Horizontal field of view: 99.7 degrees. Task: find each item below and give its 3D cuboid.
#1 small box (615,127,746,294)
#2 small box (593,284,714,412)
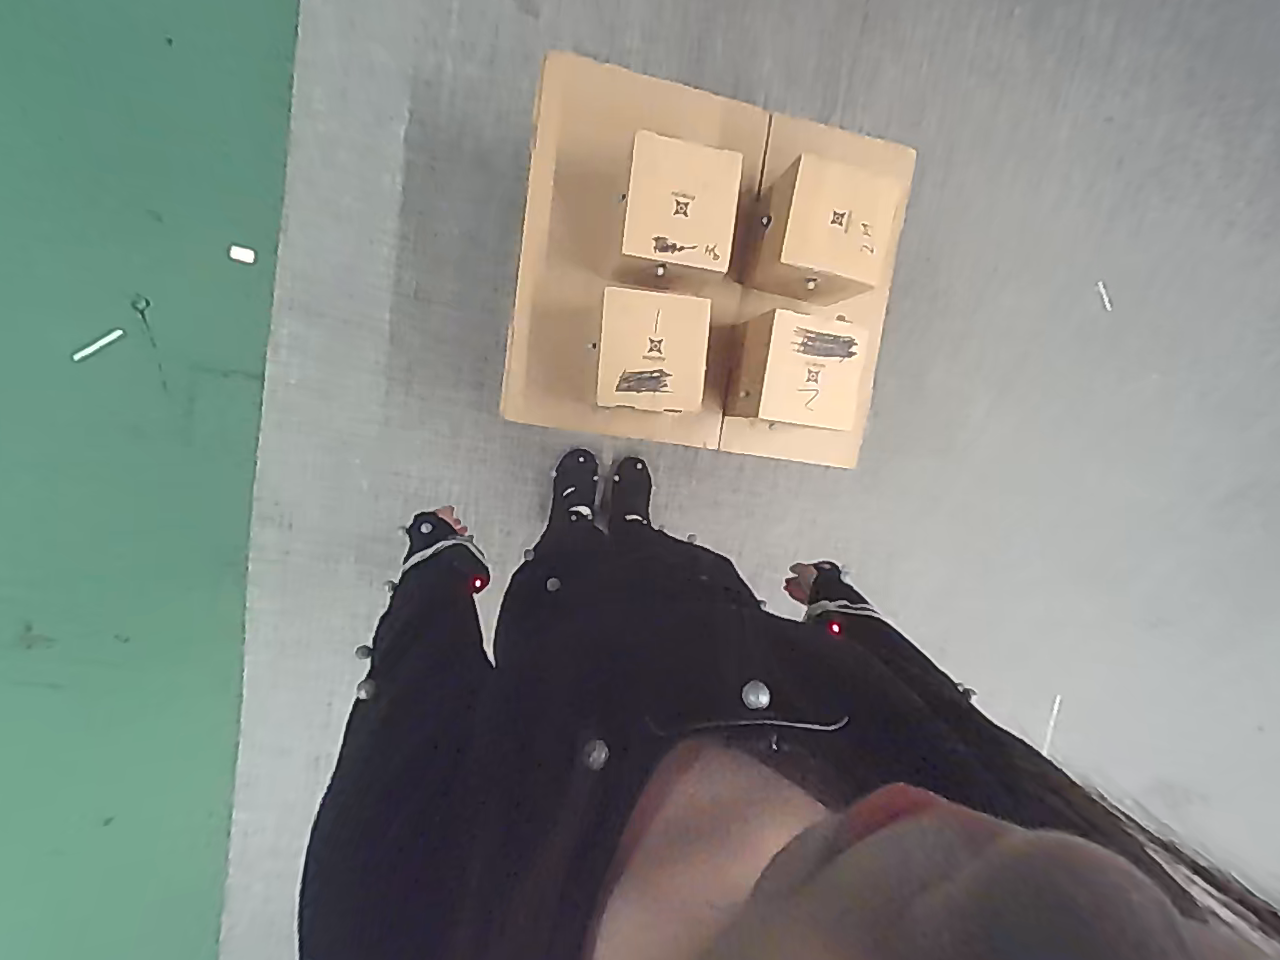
[{"bbox_3d":[0.055,-0.417,0.866,0.168,0.176,0.179,6,95,-9],"label":"small box"},{"bbox_3d":[0.013,-0.207,0.888,0.168,0.176,0.179,3,97,-10],"label":"small box"}]
